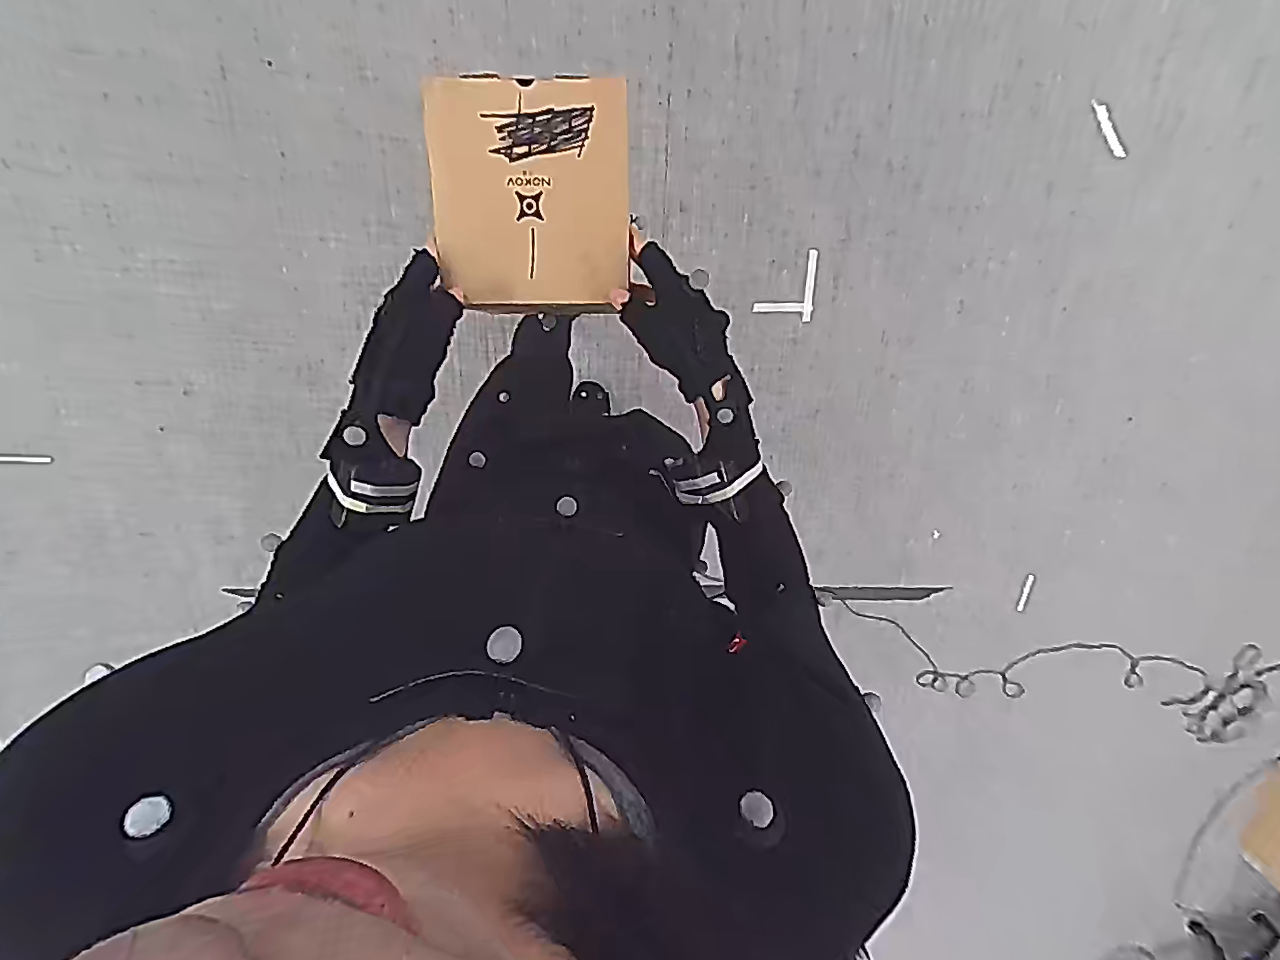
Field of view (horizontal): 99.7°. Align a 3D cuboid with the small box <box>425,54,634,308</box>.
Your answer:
[{"bbox_3d":[-0.090,-0.265,0.519,0.168,0.176,0.179,0,104,-1],"label":"small box"}]
